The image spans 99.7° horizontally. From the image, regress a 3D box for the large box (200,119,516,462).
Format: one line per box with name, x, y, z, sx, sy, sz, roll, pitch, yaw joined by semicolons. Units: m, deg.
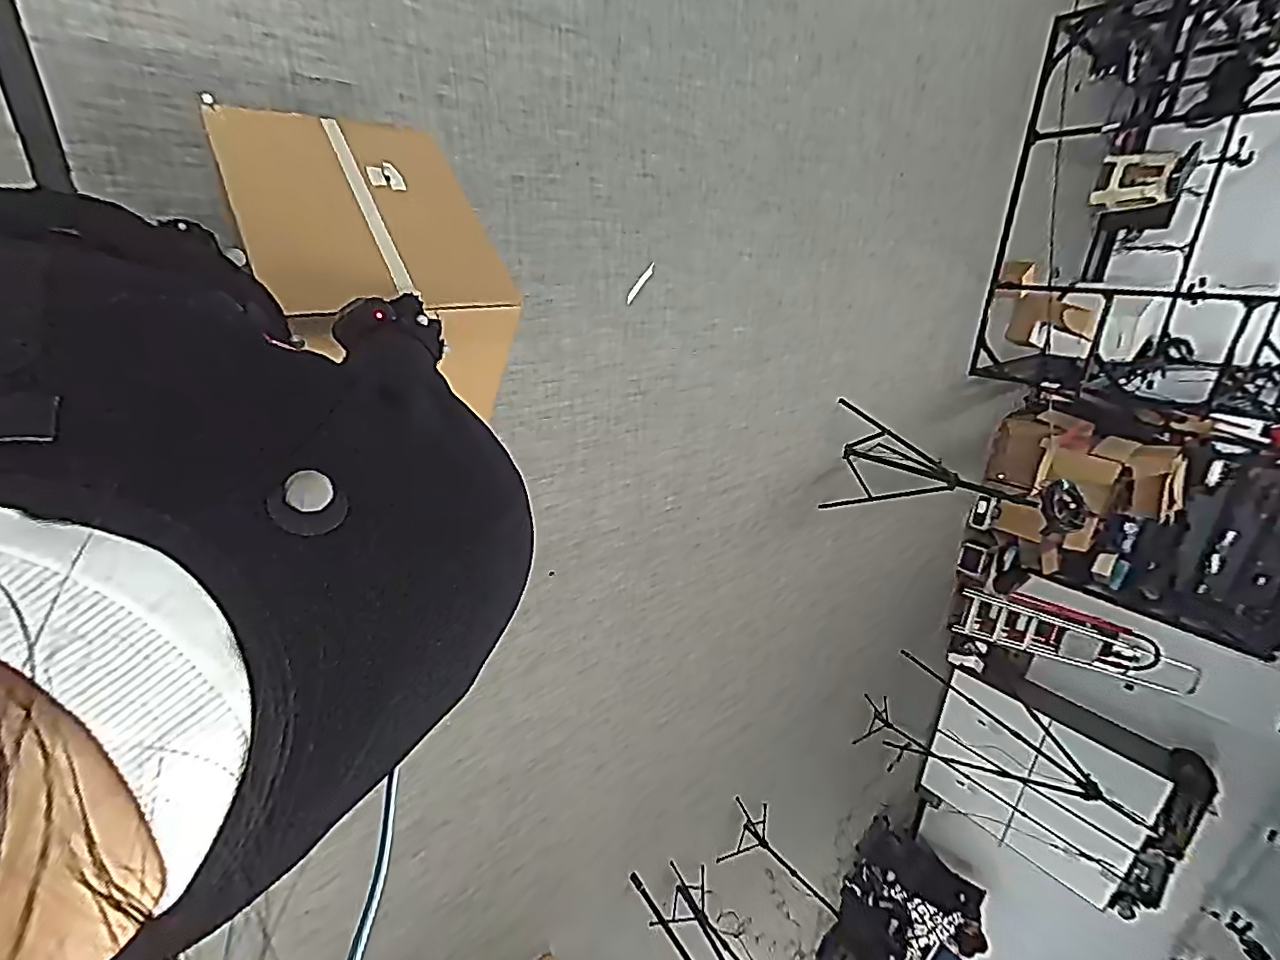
large box;-0.451;-0.298;0.884;0.320;0.408;0.320;-16;156;-36
